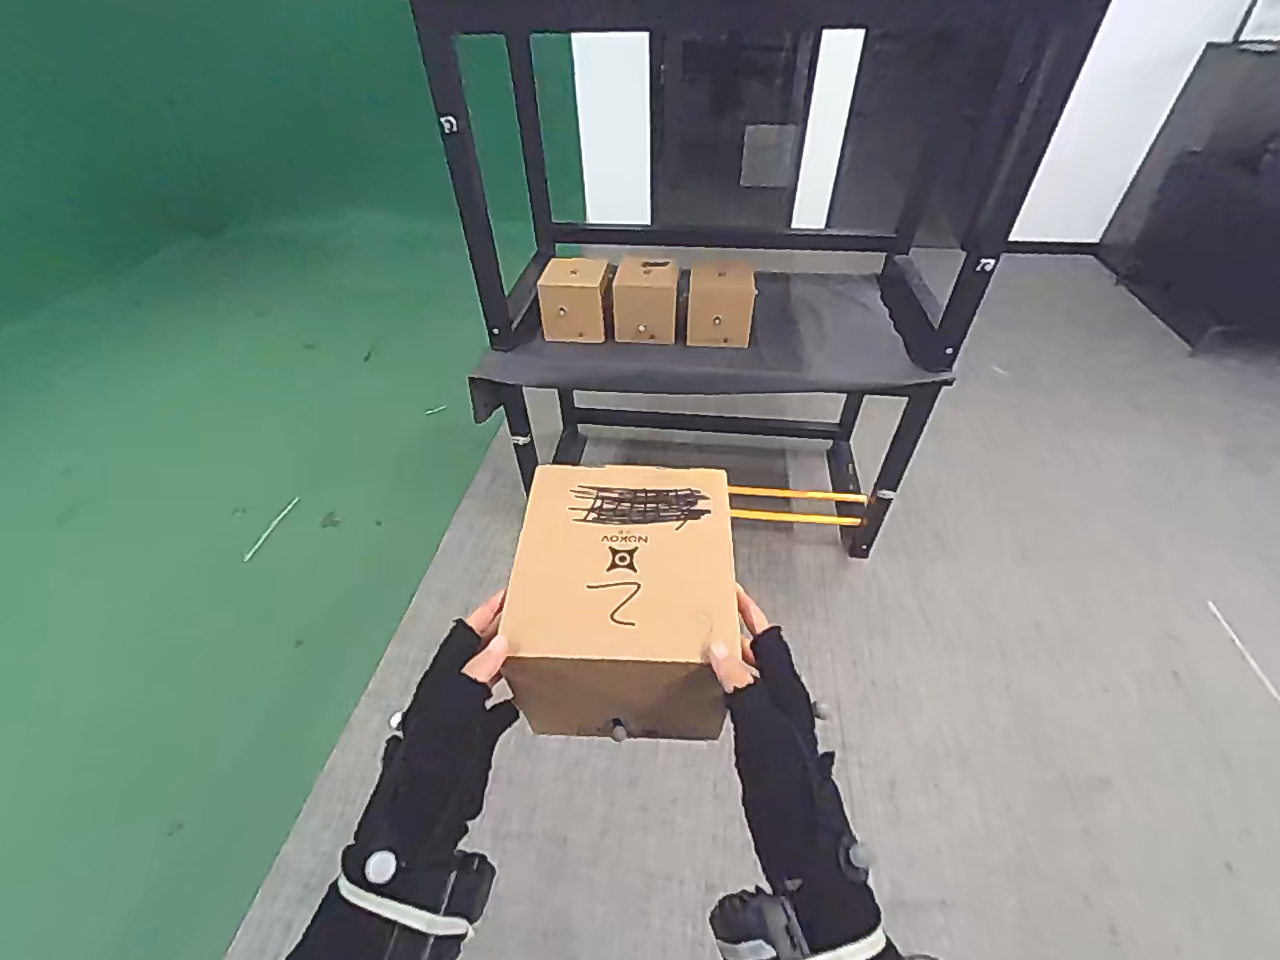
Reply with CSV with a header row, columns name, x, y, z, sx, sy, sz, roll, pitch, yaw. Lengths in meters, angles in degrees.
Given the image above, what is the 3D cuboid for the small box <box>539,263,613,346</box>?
name,x,y,z,sx,sy,sz,roll,pitch,yaw
small box,-0.169,-0.485,1.501,0.168,0.176,0.179,4,43,5
